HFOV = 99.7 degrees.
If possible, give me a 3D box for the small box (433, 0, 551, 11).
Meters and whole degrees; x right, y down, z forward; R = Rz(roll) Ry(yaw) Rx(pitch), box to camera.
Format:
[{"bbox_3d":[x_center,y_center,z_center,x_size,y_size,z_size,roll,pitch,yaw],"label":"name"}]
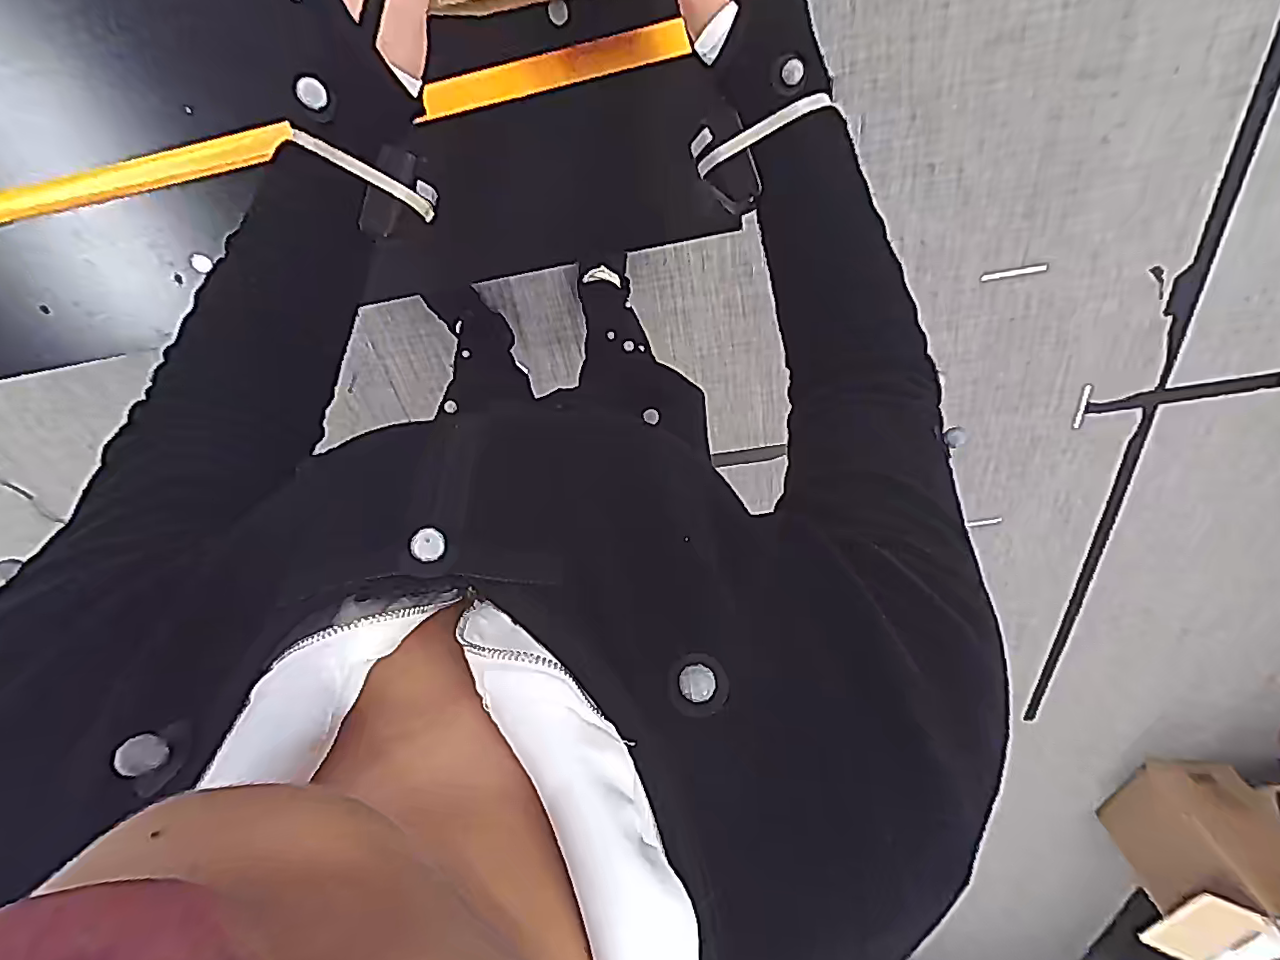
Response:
[{"bbox_3d":[-0.071,-0.430,0.346,0.168,0.176,0.179,-6,130,6],"label":"small box"}]
